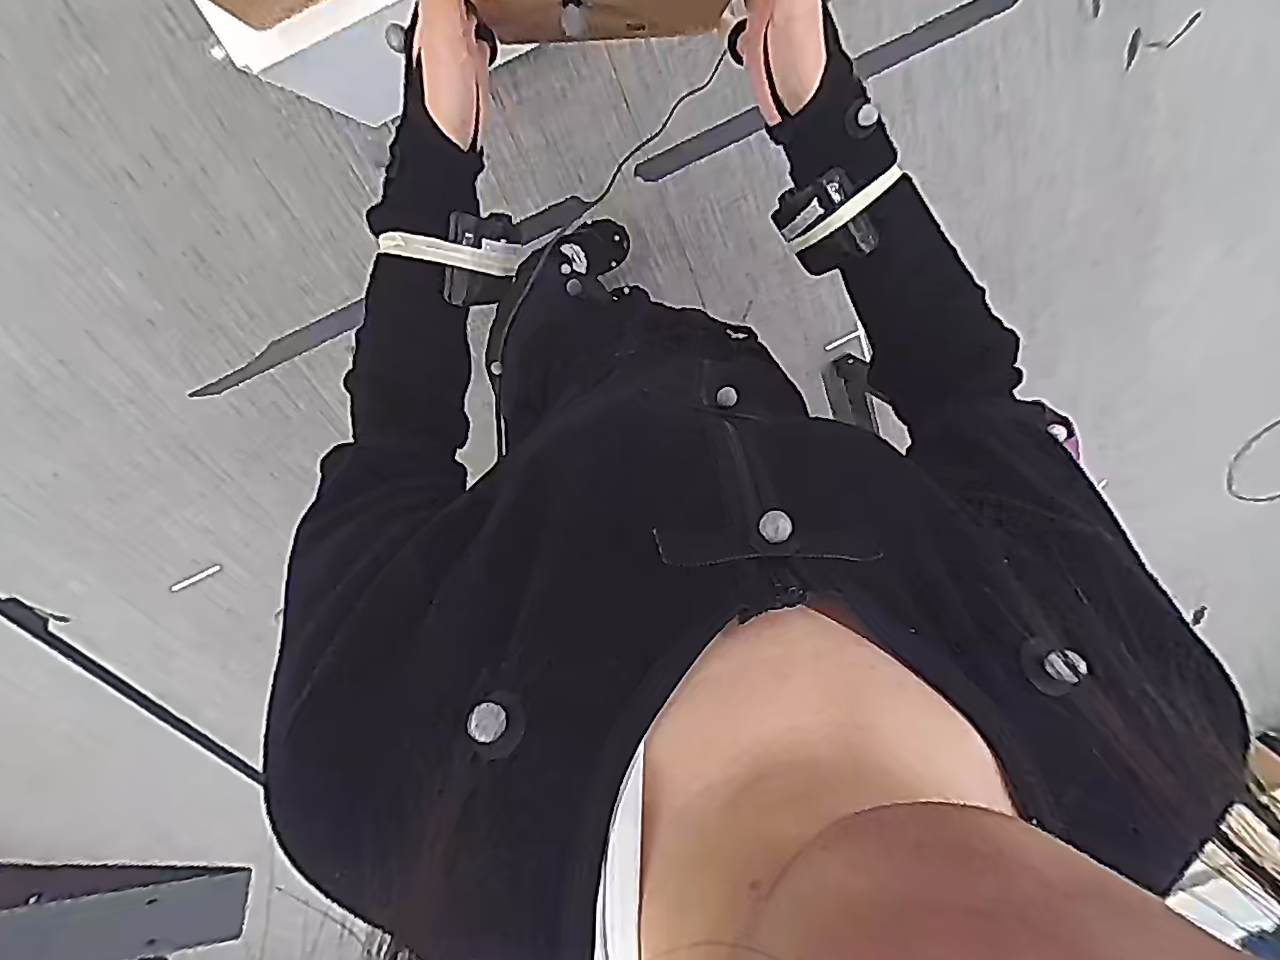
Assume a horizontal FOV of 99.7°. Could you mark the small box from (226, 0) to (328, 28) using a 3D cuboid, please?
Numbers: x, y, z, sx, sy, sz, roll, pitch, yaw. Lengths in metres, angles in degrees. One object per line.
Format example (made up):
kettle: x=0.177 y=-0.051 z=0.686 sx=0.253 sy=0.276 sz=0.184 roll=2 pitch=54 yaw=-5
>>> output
small box: x=-0.367 y=-0.562 z=0.485 sx=0.168 sy=0.176 sz=0.179 roll=-26 pitch=118 yaw=2

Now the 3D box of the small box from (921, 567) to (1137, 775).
small box: x=0.514 y=0.253 z=0.737 sx=0.168 sy=0.176 sz=0.179 roll=-23 pitch=118 yaw=1

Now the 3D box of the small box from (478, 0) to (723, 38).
small box: x=-0.025 y=-0.374 z=0.301 sx=0.168 sy=0.176 sz=0.179 roll=-5 pitch=116 yaw=-1
